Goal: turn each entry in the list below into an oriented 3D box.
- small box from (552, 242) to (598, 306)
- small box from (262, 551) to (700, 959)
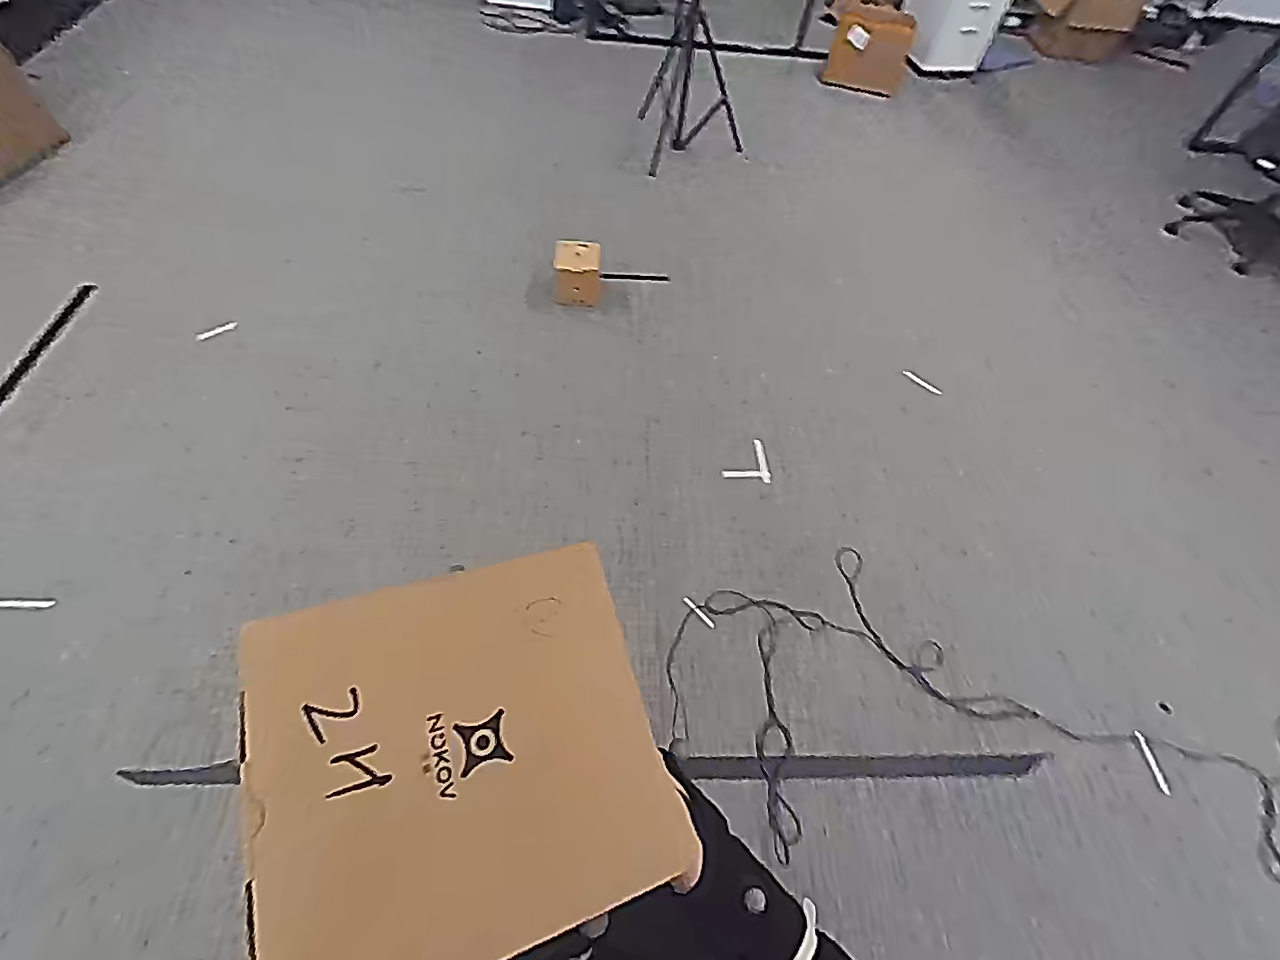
[{"bbox_3d":[-0.253,-0.811,2.139,0.168,0.176,0.179,2,58,-4],"label":"small box"},{"bbox_3d":[-0.092,0.159,0.320,0.179,0.176,0.168,-10,67,-19],"label":"small box"}]
